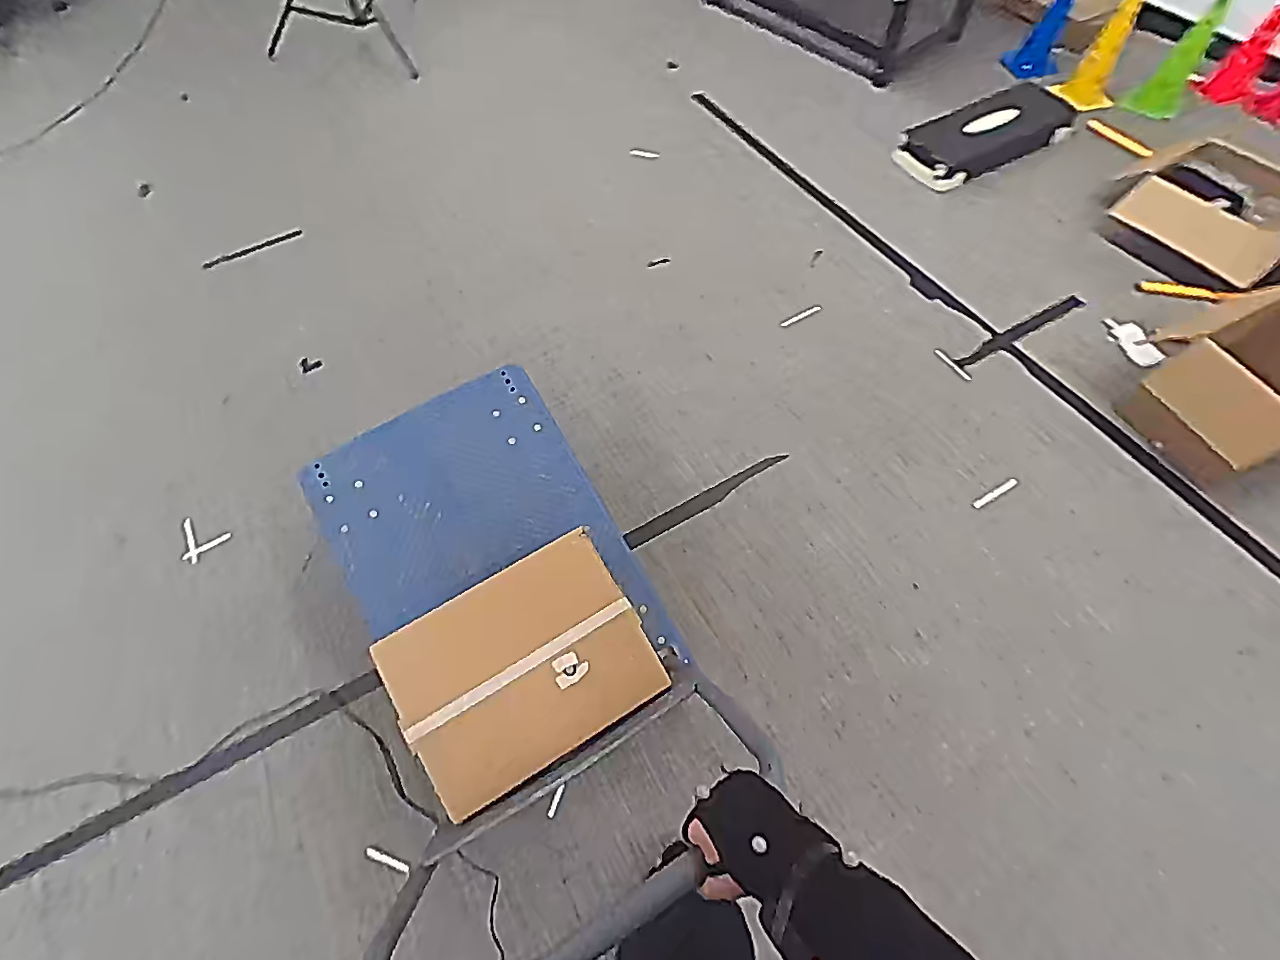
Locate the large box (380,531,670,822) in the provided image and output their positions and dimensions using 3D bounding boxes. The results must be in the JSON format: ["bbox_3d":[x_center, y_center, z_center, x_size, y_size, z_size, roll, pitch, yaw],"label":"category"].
[{"bbox_3d":[-0.204,0.355,1.056,0.408,0.320,0.320,-30,80,-12],"label":"large box"}]
